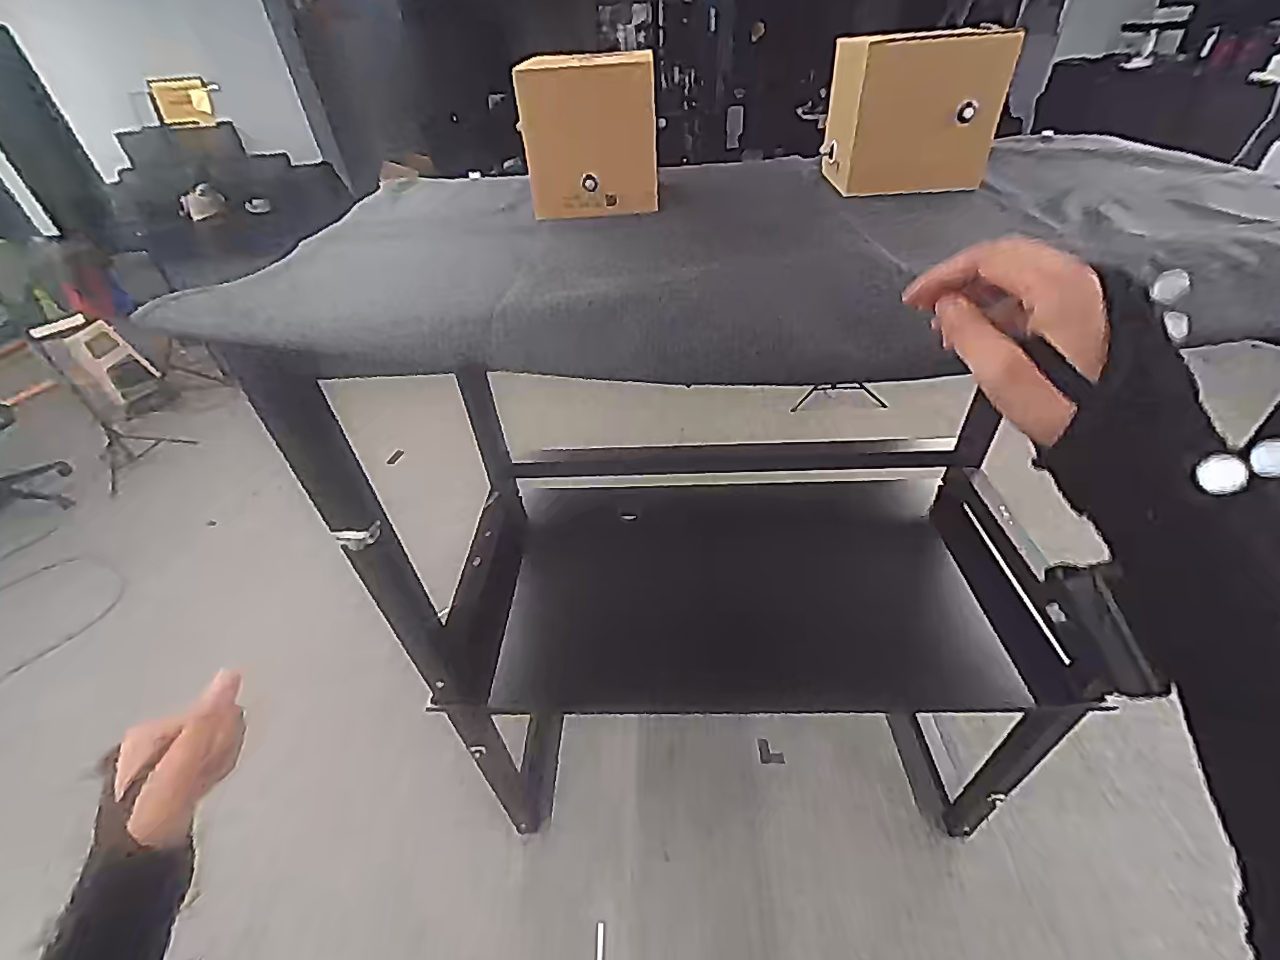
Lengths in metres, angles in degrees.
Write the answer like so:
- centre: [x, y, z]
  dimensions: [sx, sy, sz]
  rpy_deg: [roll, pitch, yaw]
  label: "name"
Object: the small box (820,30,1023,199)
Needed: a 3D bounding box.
- centre: [0.358, -0.491, 0.729]
  dimensions: [0.179, 0.176, 0.168]
  rpy_deg: [0, 39, 5]
  label: "small box"
